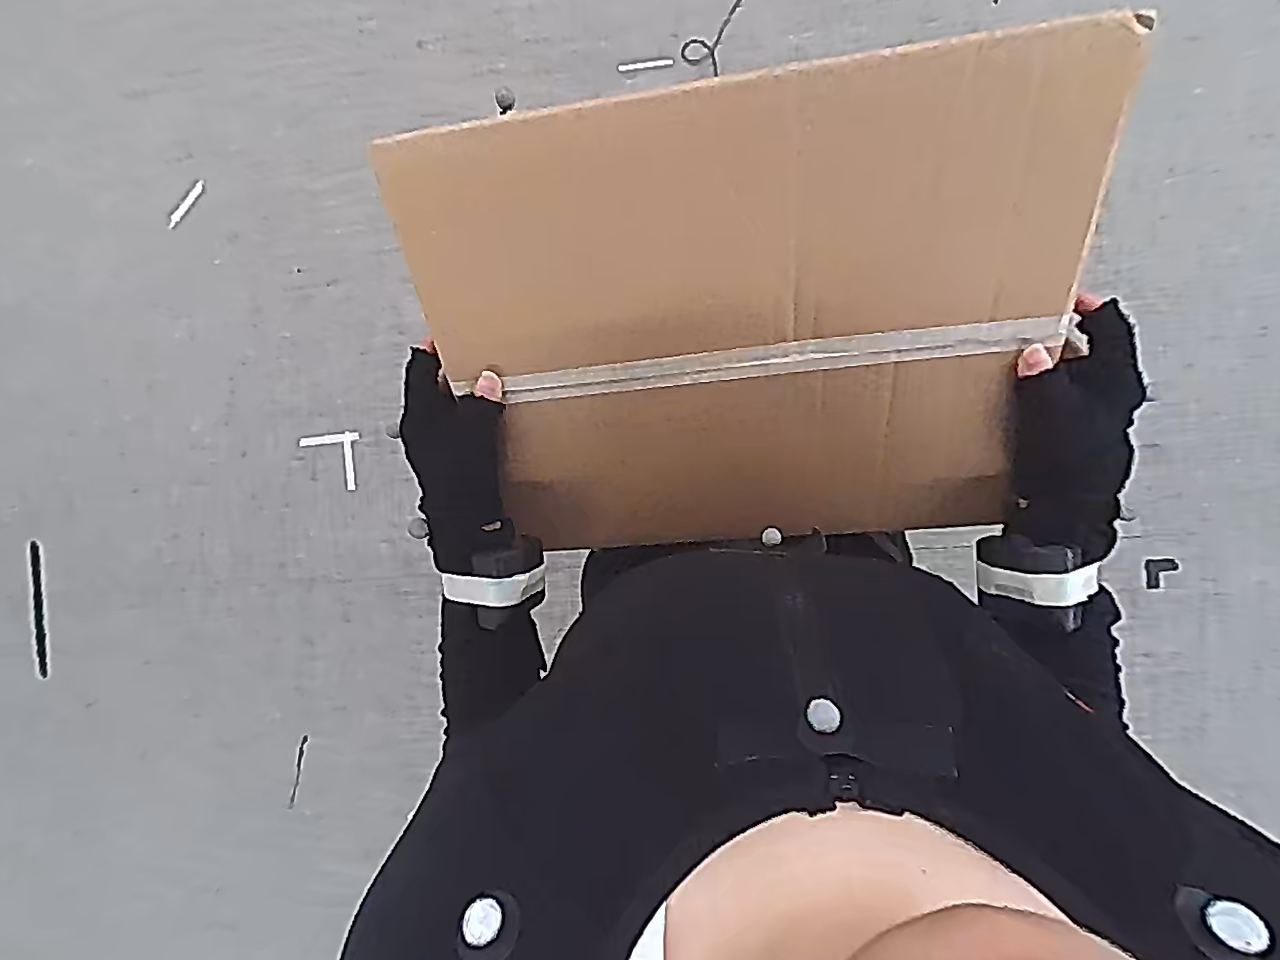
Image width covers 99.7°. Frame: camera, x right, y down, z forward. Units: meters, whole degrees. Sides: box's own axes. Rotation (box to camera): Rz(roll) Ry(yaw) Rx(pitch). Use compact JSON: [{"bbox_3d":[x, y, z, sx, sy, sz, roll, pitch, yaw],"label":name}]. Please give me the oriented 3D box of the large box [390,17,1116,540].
[{"bbox_3d":[0.073,-0.170,0.500,0.408,0.320,0.320,-4,125,8],"label":"large box"}]
